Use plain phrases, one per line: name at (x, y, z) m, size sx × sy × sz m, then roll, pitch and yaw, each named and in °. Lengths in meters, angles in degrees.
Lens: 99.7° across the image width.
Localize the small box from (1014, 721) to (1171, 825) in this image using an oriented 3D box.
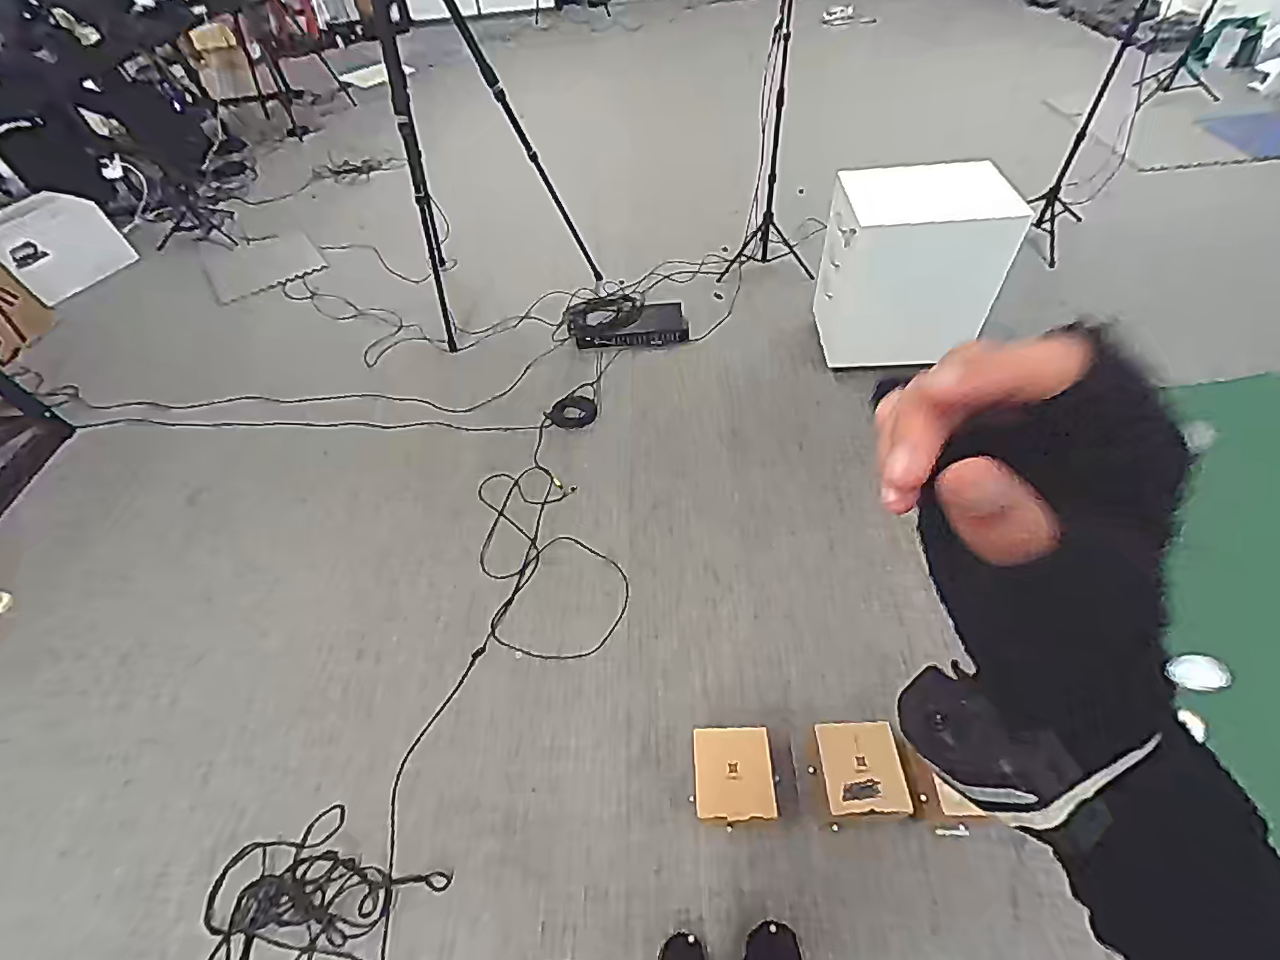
small box at (0.954, 0.631, 1.162) m, size 0.168 × 0.176 × 0.179 m, roll -2°, pitch 51°, yaw 4°

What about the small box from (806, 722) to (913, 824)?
small box at (0.475, 0.653, 1.196) m, size 0.168 × 0.176 × 0.179 m, roll -4°, pitch 50°, yaw 4°

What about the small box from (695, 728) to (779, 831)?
small box at (0.210, 0.674, 1.215) m, size 0.168 × 0.176 × 0.179 m, roll -3°, pitch 51°, yaw 5°
